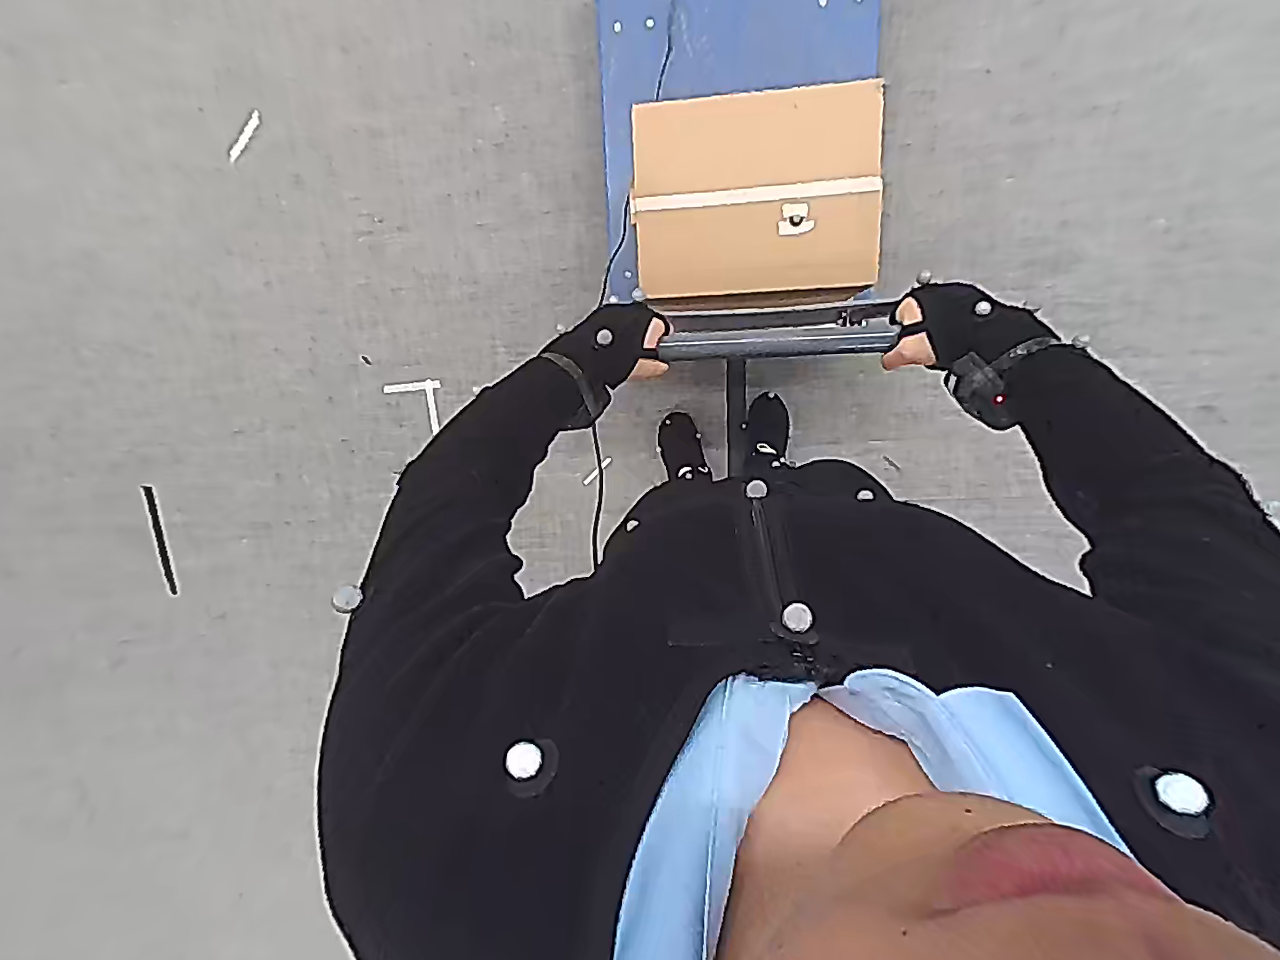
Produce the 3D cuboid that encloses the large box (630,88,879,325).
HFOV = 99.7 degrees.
[{"bbox_3d":[0.203,-0.488,1.046,0.408,0.320,0.320,-2,101,6],"label":"large box"}]
